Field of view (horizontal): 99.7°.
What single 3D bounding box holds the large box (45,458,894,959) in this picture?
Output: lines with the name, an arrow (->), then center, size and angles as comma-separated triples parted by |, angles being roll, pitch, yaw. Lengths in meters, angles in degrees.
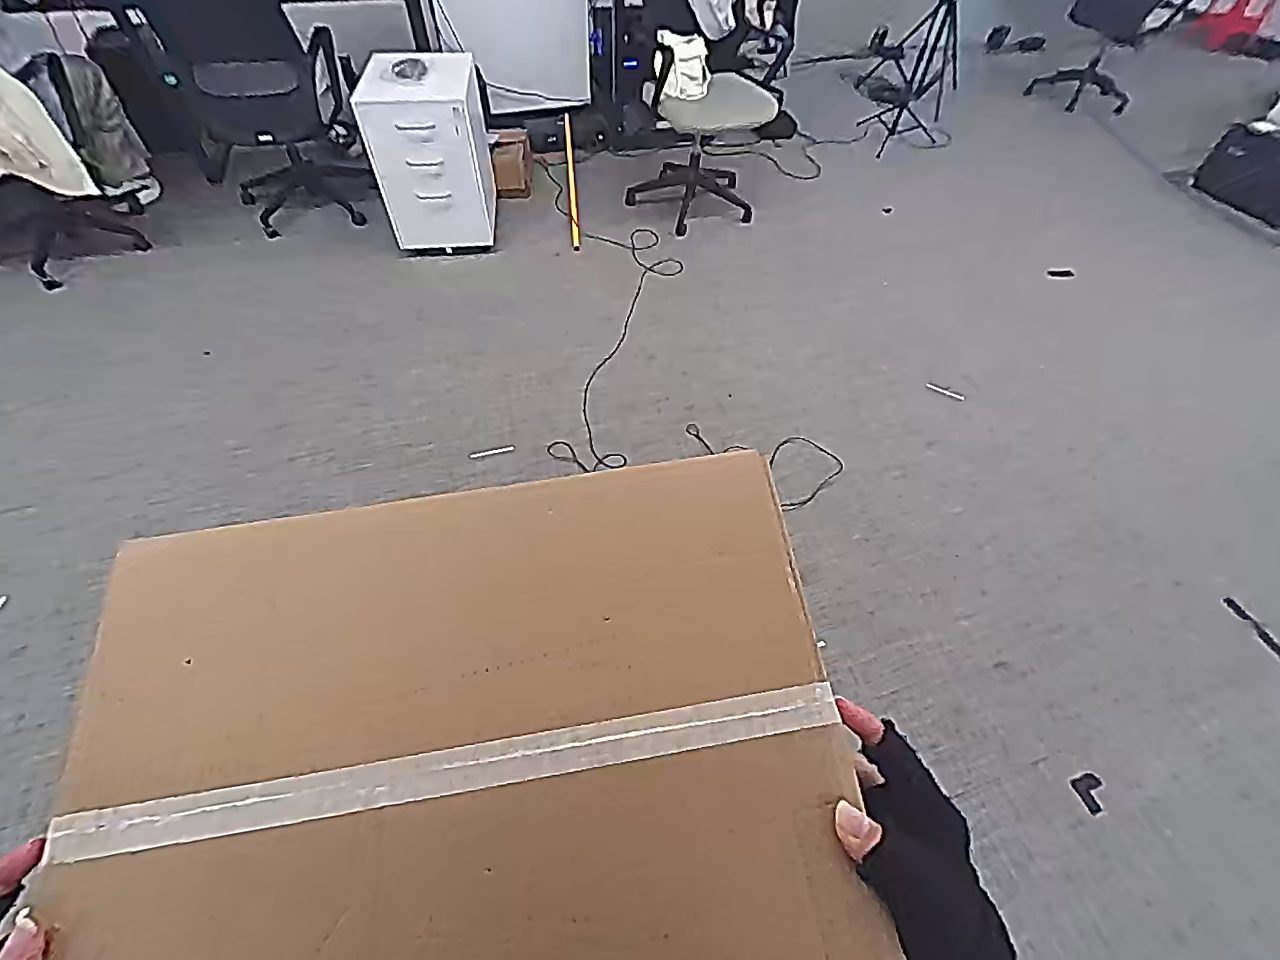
large box -> -0.091, 0.212, 0.427 | 0.408, 0.320, 0.320 | -9, 66, -3
